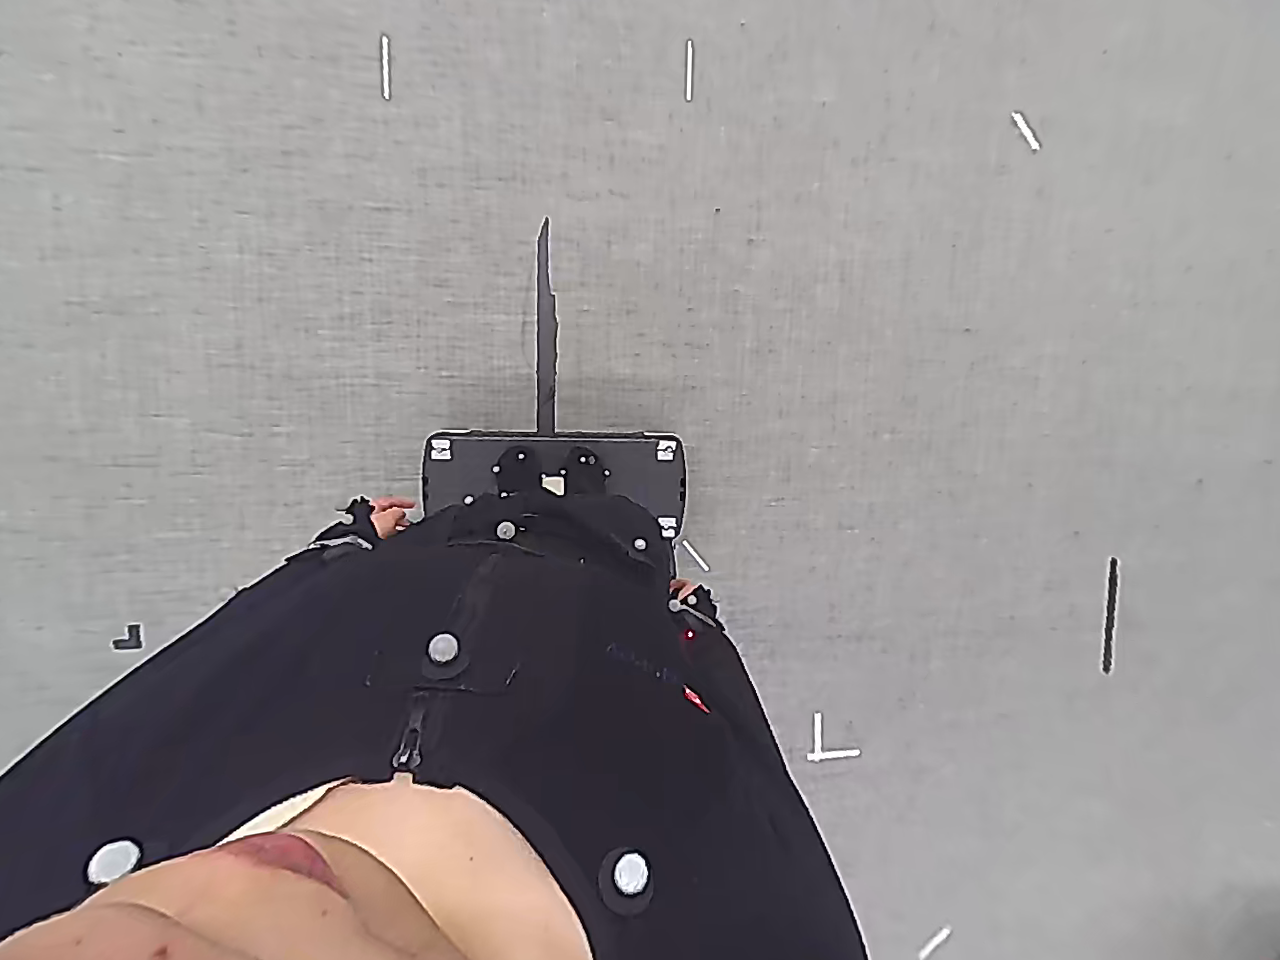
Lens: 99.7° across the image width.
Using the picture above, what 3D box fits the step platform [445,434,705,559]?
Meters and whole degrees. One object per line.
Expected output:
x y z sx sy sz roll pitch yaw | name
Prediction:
-0.167 0.043 1.464 0.684 0.204 0.286 5 94 -7 | step platform
